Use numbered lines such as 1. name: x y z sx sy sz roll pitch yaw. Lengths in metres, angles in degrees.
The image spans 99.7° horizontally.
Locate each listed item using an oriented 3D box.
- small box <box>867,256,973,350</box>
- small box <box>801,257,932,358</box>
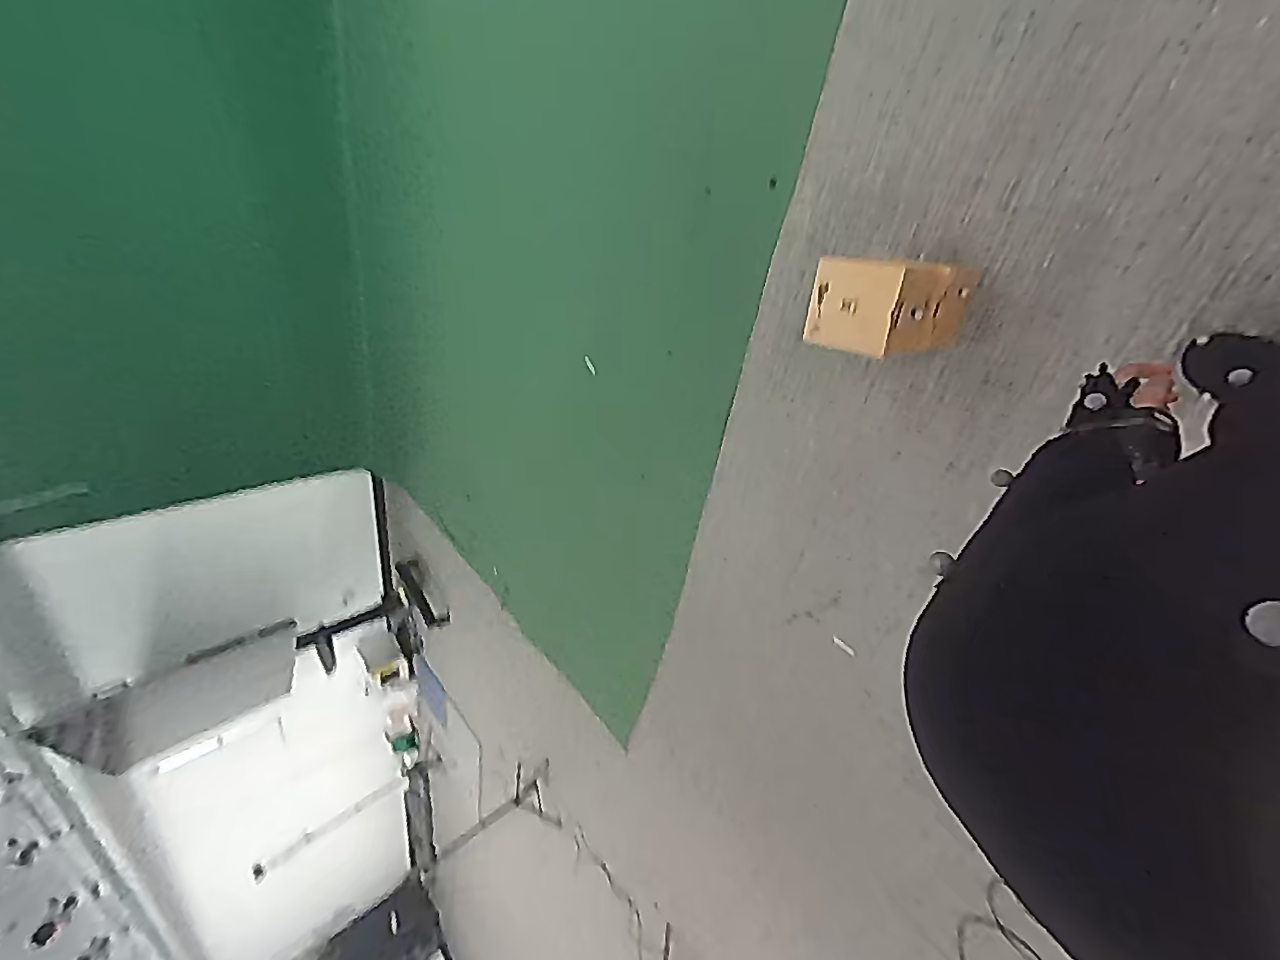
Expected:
1. small box: 0.596 -0.392 1.188 0.179 0.176 0.168 29 122 39
2. small box: 0.462 -0.355 1.098 0.179 0.176 0.168 27 121 38
